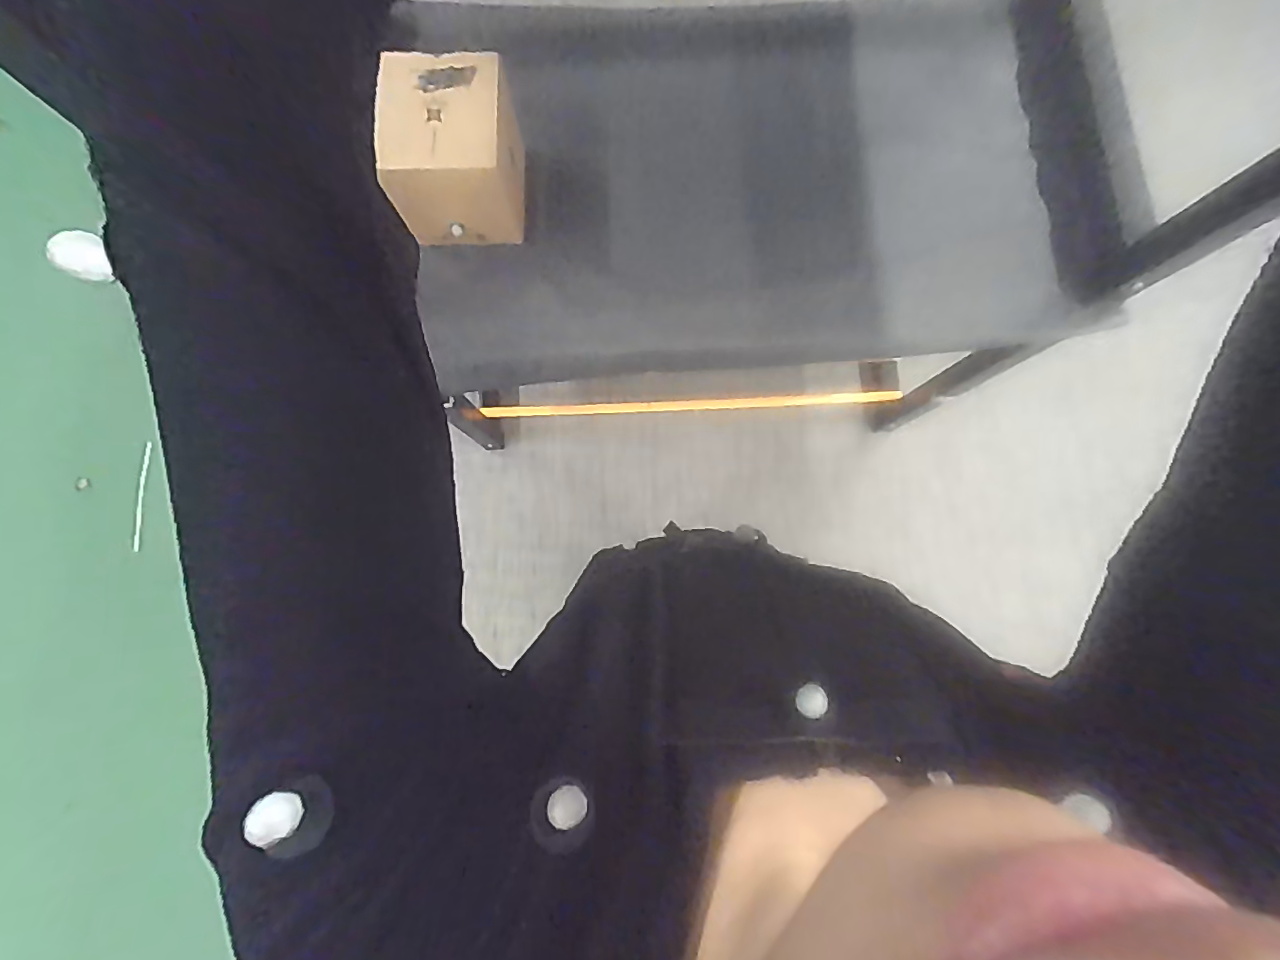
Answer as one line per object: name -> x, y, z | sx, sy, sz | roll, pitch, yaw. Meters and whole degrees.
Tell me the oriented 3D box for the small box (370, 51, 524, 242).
small box -> -0.268, -0.474, 0.787 | 0.168, 0.176, 0.179 | -1, 82, -1
